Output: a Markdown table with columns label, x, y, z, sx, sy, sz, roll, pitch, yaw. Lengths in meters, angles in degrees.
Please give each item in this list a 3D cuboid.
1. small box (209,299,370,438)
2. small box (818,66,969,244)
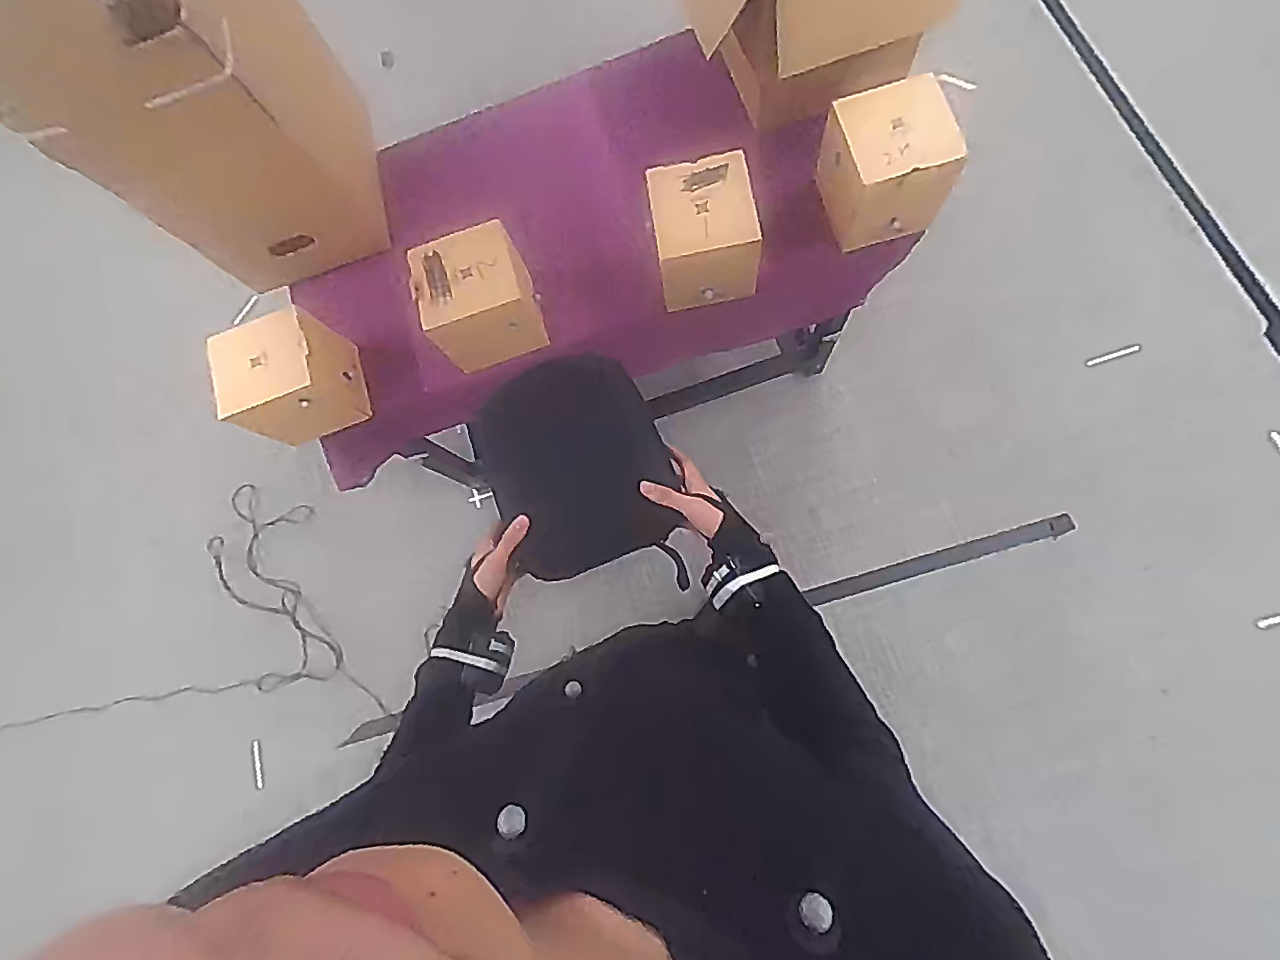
| label | x | y | z | sx | sy | sz | roll | pitch | yaw |
| --- | --- | --- | --- | --- | --- | --- | --- | --- | --- |
| small box | -0.641 | -0.196 | 1.002 | 0.179 | 0.176 | 0.168 | -20 | 76 | 2 |
| small box | 0.419 | -0.547 | 0.930 | 0.168 | 0.176 | 0.179 | -13 | 76 | 6 |
